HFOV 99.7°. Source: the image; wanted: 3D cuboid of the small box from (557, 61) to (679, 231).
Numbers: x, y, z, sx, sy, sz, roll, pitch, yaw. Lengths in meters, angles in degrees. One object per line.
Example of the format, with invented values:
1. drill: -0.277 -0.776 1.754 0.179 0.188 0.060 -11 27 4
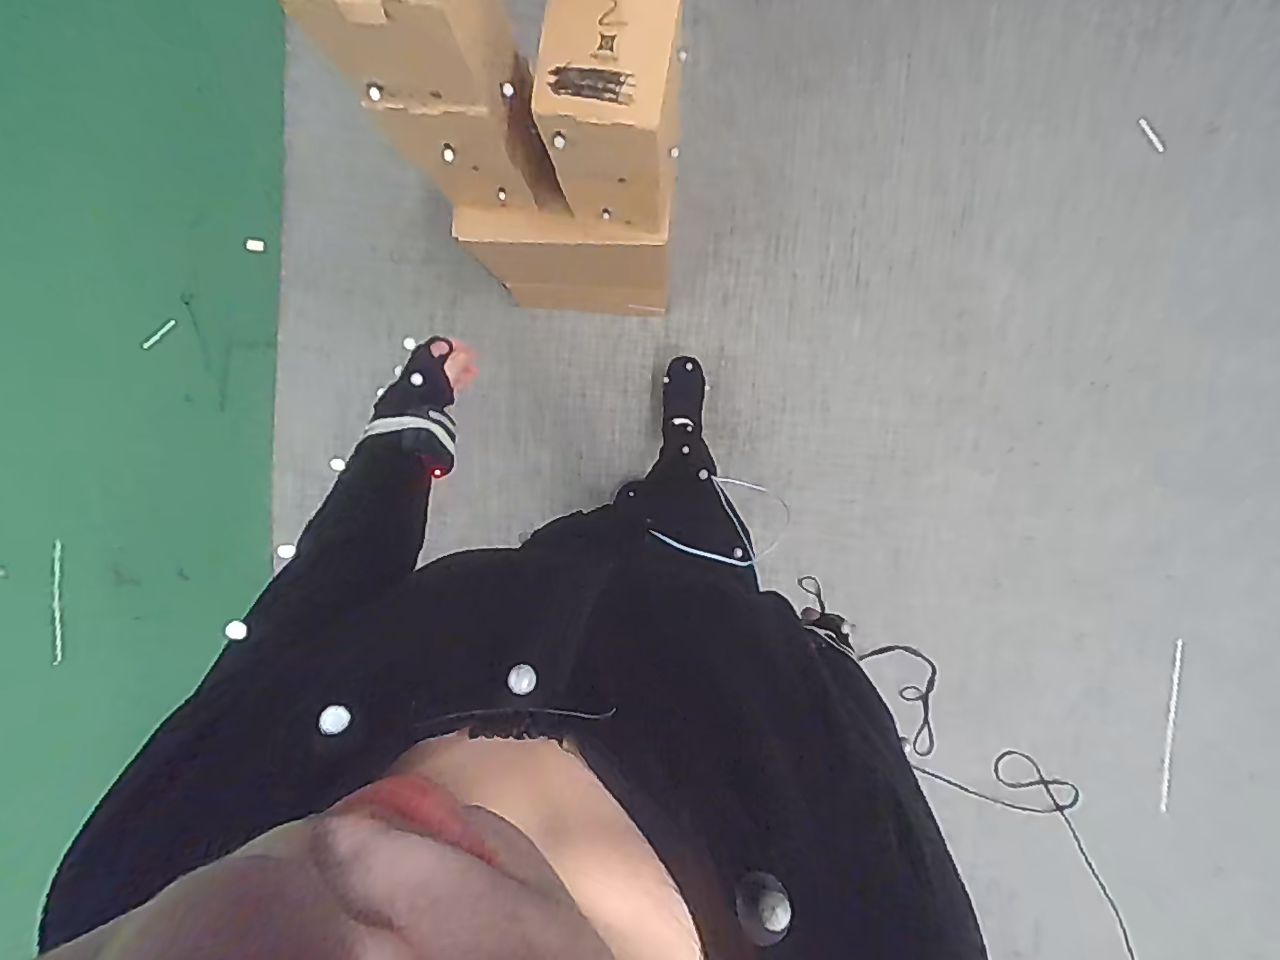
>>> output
1. small box: -0.032 -0.553 0.916 0.168 0.176 0.179 10 94 3

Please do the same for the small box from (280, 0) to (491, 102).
1. small box: -0.269 -0.557 0.598 0.168 0.176 0.179 3 93 0

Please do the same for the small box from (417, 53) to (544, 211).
1. small box: -0.263 -0.585 0.925 0.168 0.176 0.179 5 94 0
